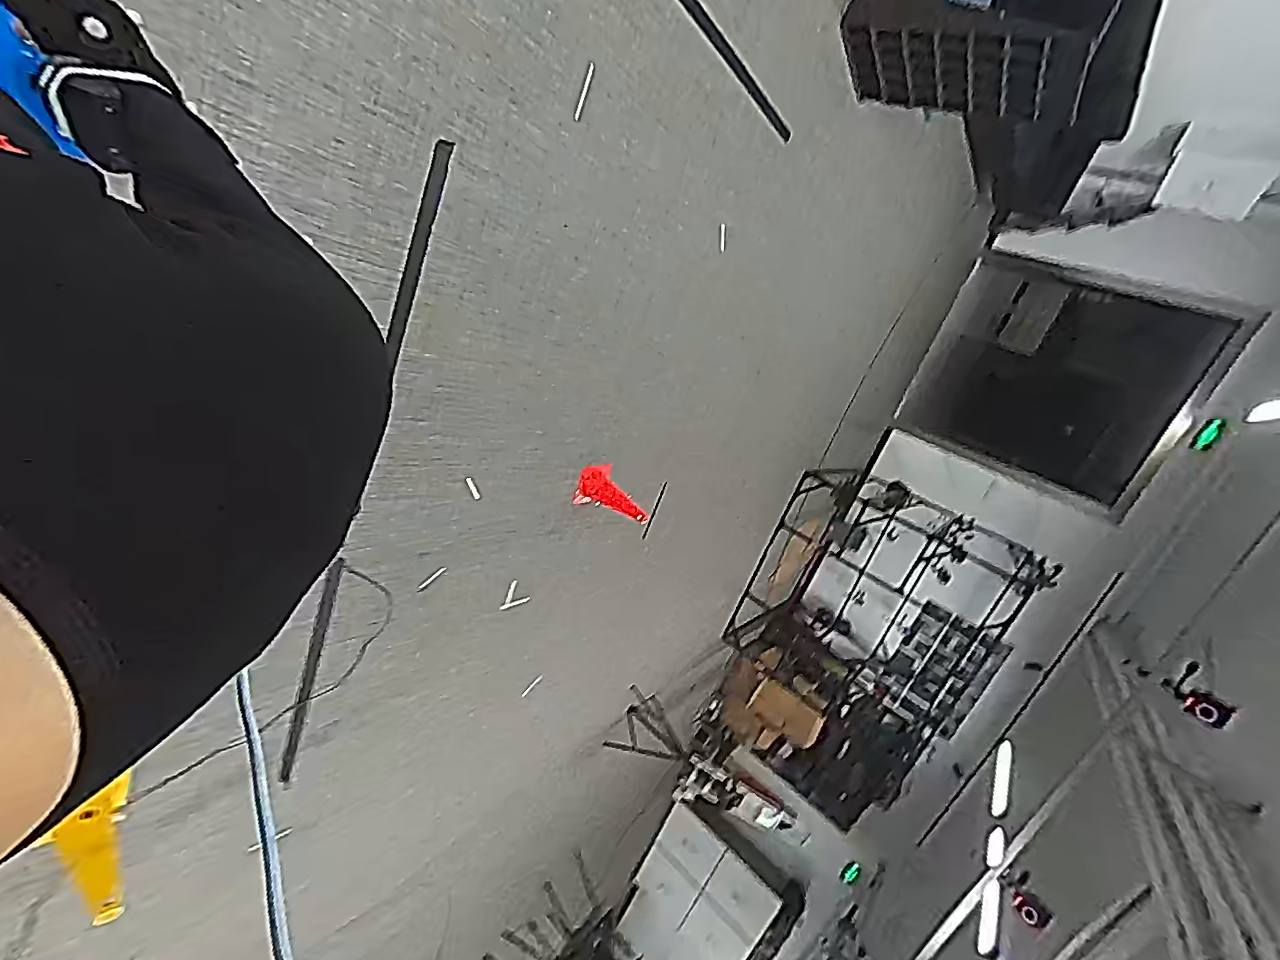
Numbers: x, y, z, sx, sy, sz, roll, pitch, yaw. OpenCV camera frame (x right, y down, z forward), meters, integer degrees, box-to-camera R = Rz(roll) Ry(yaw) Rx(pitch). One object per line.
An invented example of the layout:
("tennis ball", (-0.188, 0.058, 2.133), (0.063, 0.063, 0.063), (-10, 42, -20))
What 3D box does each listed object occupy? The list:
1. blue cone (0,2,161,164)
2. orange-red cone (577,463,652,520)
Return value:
("blue cone", (-0.826, -0.584, 0.831), (0.192, 0.380, 0.193), (-10, 126, -52))
("orange-red cone", (-0.090, 0.085, 2.517), (0.198, 0.360, 0.199), (-10, 124, -53))
